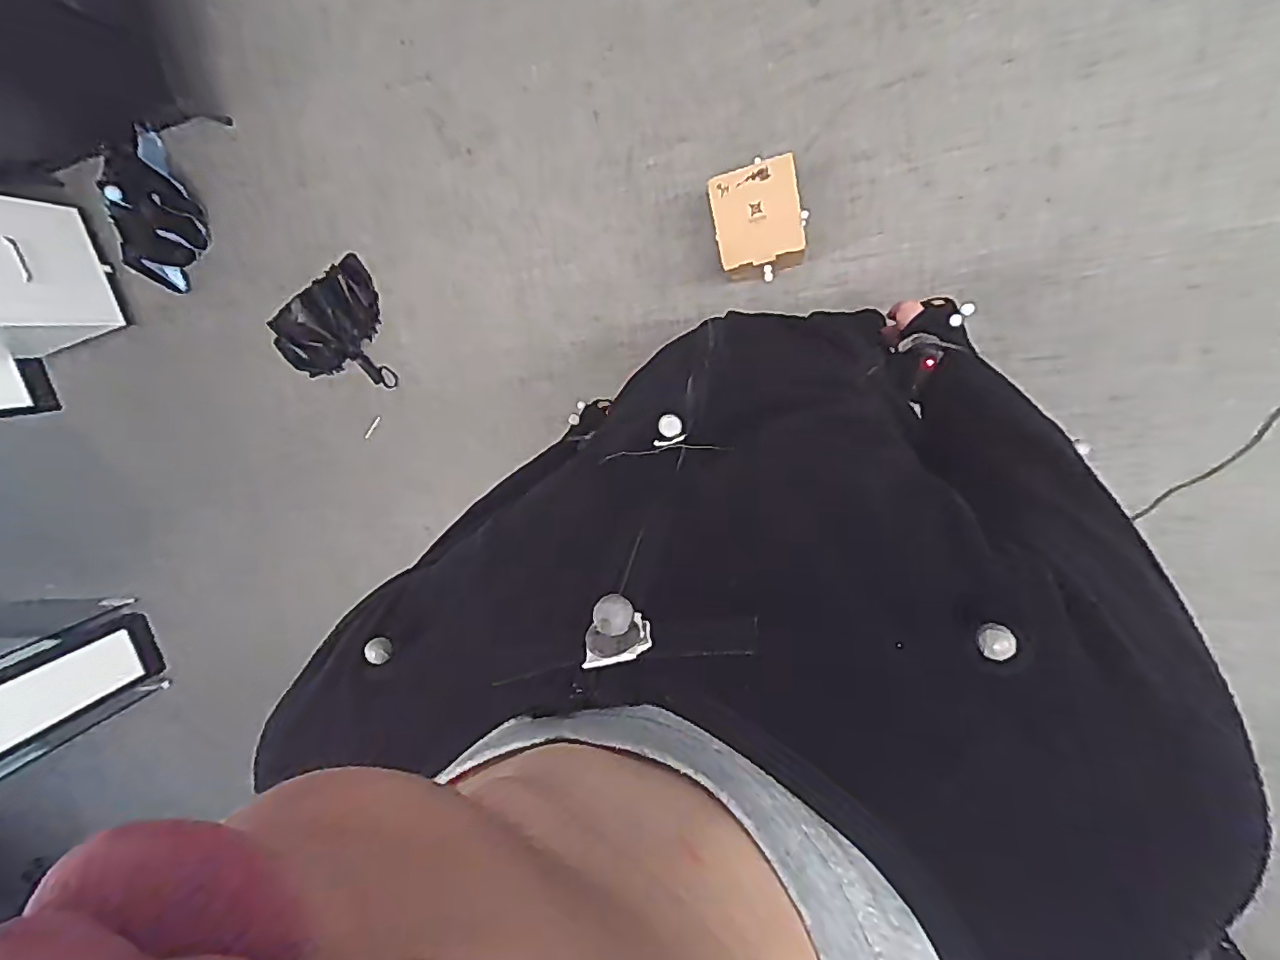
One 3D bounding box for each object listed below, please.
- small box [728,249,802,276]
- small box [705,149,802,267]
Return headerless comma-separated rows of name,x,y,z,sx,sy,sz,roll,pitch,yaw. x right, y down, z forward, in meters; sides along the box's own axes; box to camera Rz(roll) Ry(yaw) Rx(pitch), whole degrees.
small box,0.282,-0.596,1.276,0.168,0.176,0.179,-10,104,19
small box,0.243,-0.550,1.125,0.168,0.176,0.179,-8,105,19
